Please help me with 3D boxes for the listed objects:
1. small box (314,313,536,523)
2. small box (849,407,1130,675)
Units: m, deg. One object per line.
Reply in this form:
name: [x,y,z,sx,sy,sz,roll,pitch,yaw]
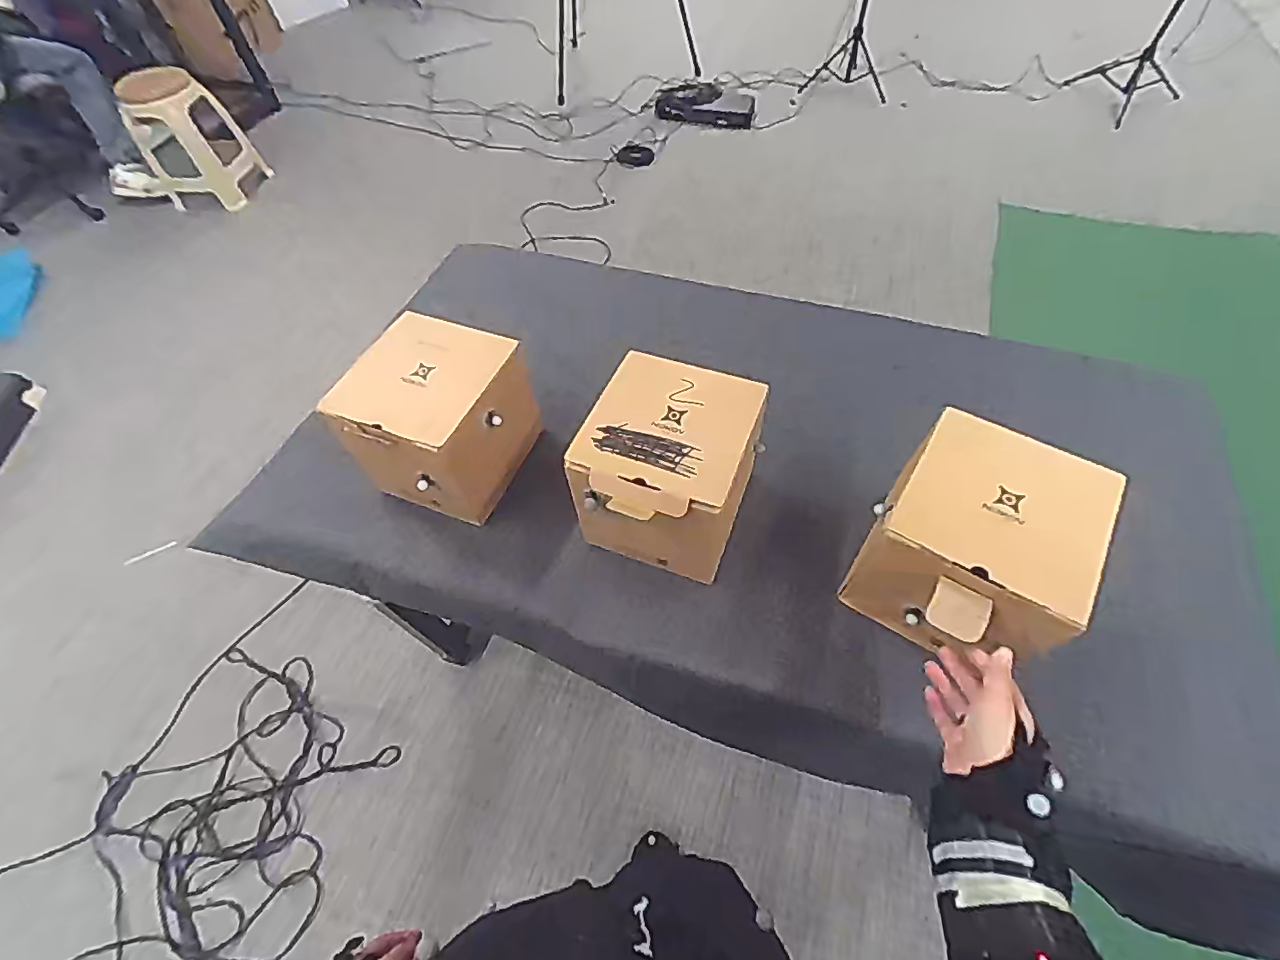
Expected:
small box: [-0.246,-0.072,0.675,0.168,0.176,0.179,18,57,12]
small box: [0.338,0.065,0.551,0.168,0.176,0.179,28,63,20]
